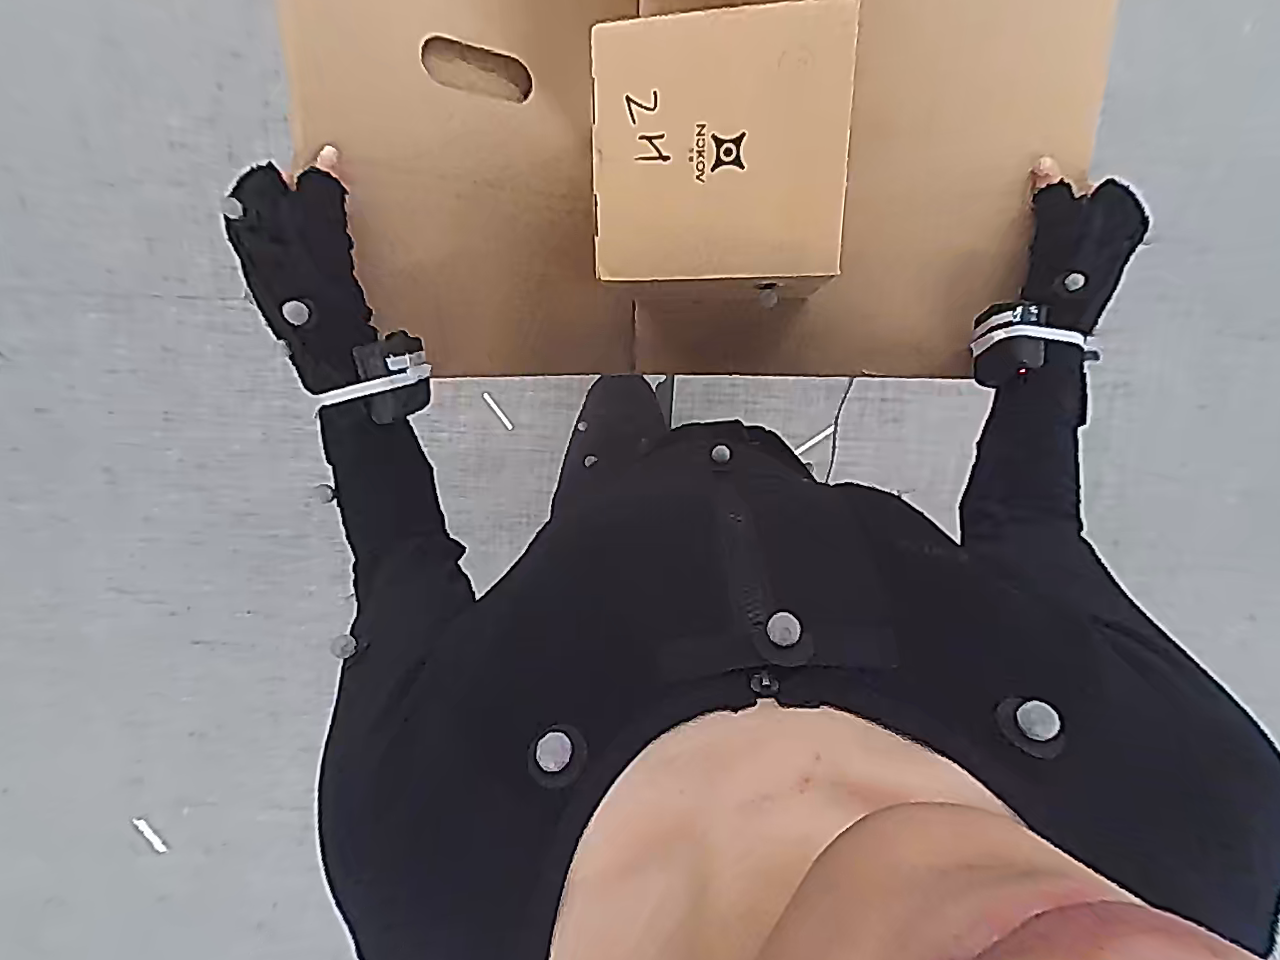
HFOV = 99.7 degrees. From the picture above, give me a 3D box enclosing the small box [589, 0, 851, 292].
[{"bbox_3d":[0.063,-0.255,0.454,0.179,0.176,0.168,3,103,11],"label":"small box"}]
